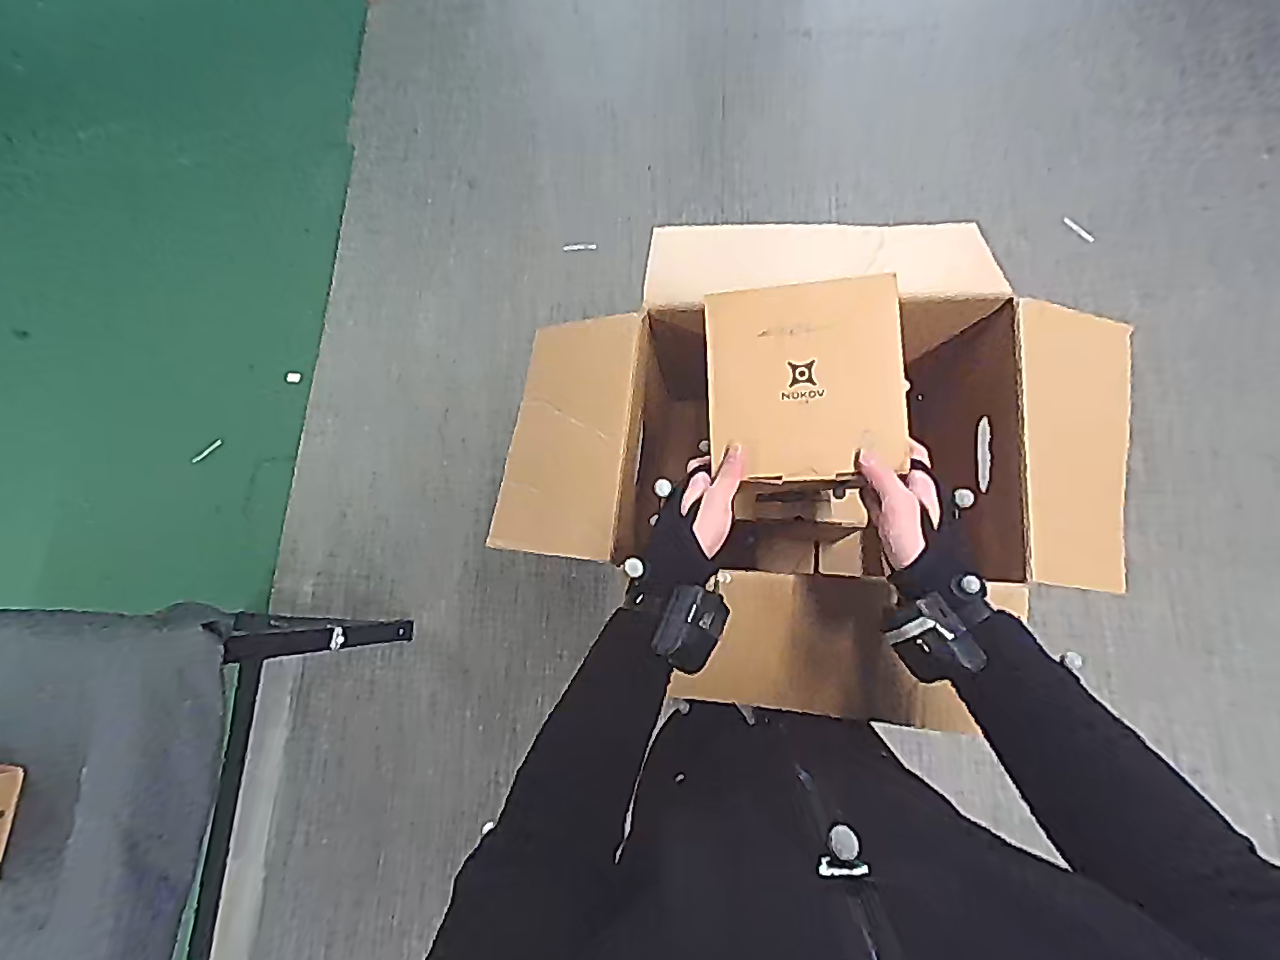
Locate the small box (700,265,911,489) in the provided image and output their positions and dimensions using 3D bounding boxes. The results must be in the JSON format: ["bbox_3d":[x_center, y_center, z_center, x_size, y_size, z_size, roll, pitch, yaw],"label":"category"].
[{"bbox_3d":[0.152,-0.082,0.535,0.168,0.176,0.179,-4,84,11],"label":"small box"}]

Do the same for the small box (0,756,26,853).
[{"bbox_3d":[-1.041,0.493,0.756,0.179,0.176,0.168,1,78,9],"label":"small box"}]
